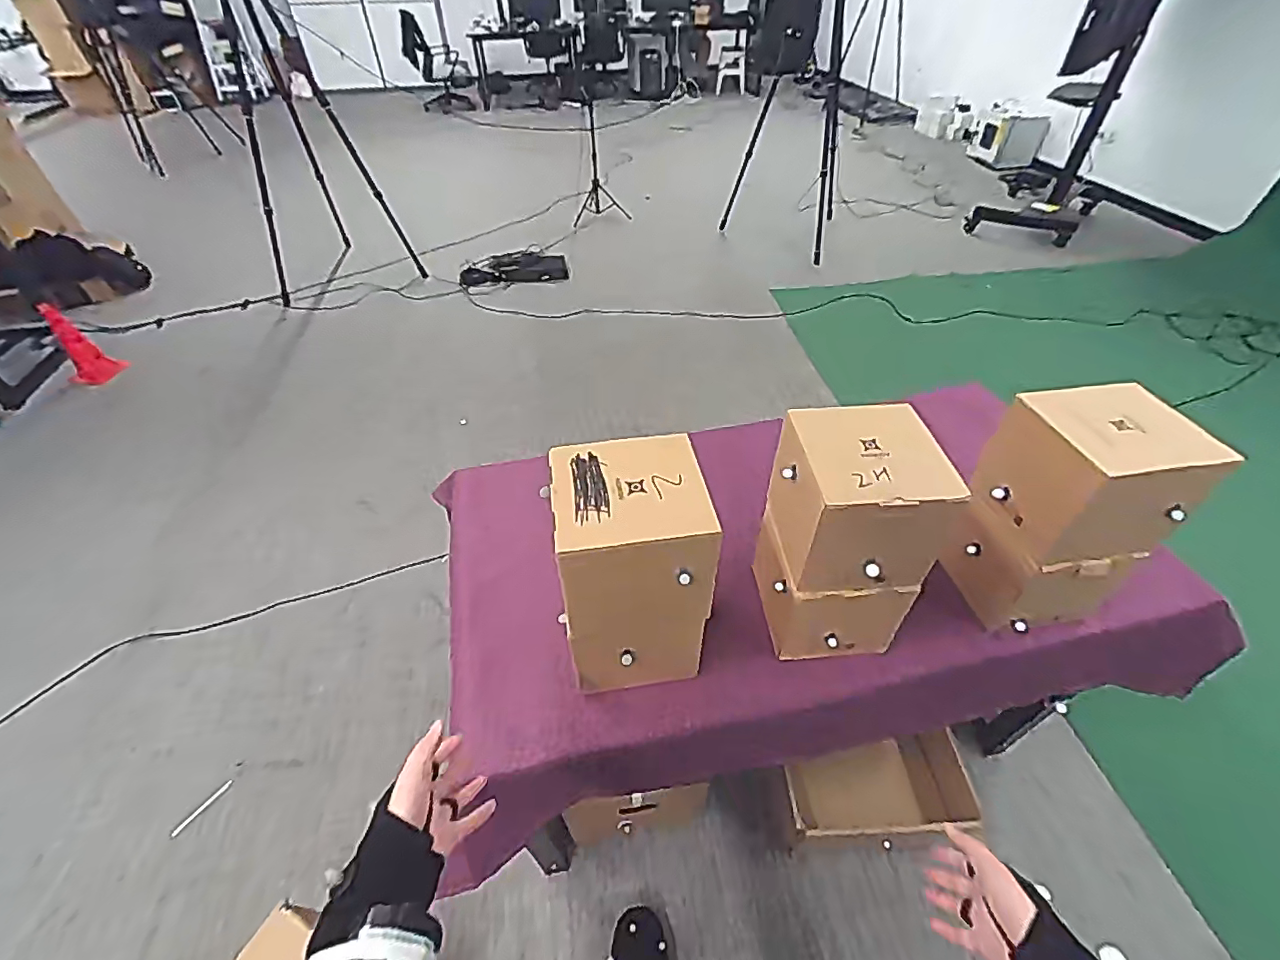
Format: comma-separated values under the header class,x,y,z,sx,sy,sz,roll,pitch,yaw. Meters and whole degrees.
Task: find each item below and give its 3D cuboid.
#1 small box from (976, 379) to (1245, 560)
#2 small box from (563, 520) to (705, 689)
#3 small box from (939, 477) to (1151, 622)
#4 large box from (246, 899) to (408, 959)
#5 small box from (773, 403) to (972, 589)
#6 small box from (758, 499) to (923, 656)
class,x,y,z,sx,sy,sz,roll,pitch,yaw
small box,0.601,-0.013,0.723,0.179,0.176,0.168,-7,44,-4
small box,-0.009,0.183,0.782,0.179,0.176,0.168,-8,46,-5
small box,0.602,0.104,0.837,0.168,0.176,0.179,-7,45,-5
large box,-0.568,1.026,0.898,0.320,0.320,0.408,19,48,18
small box,0.280,0.021,0.703,0.168,0.176,0.179,-3,46,-1
small box,0.284,0.142,0.815,0.168,0.176,0.179,-4,46,-2
